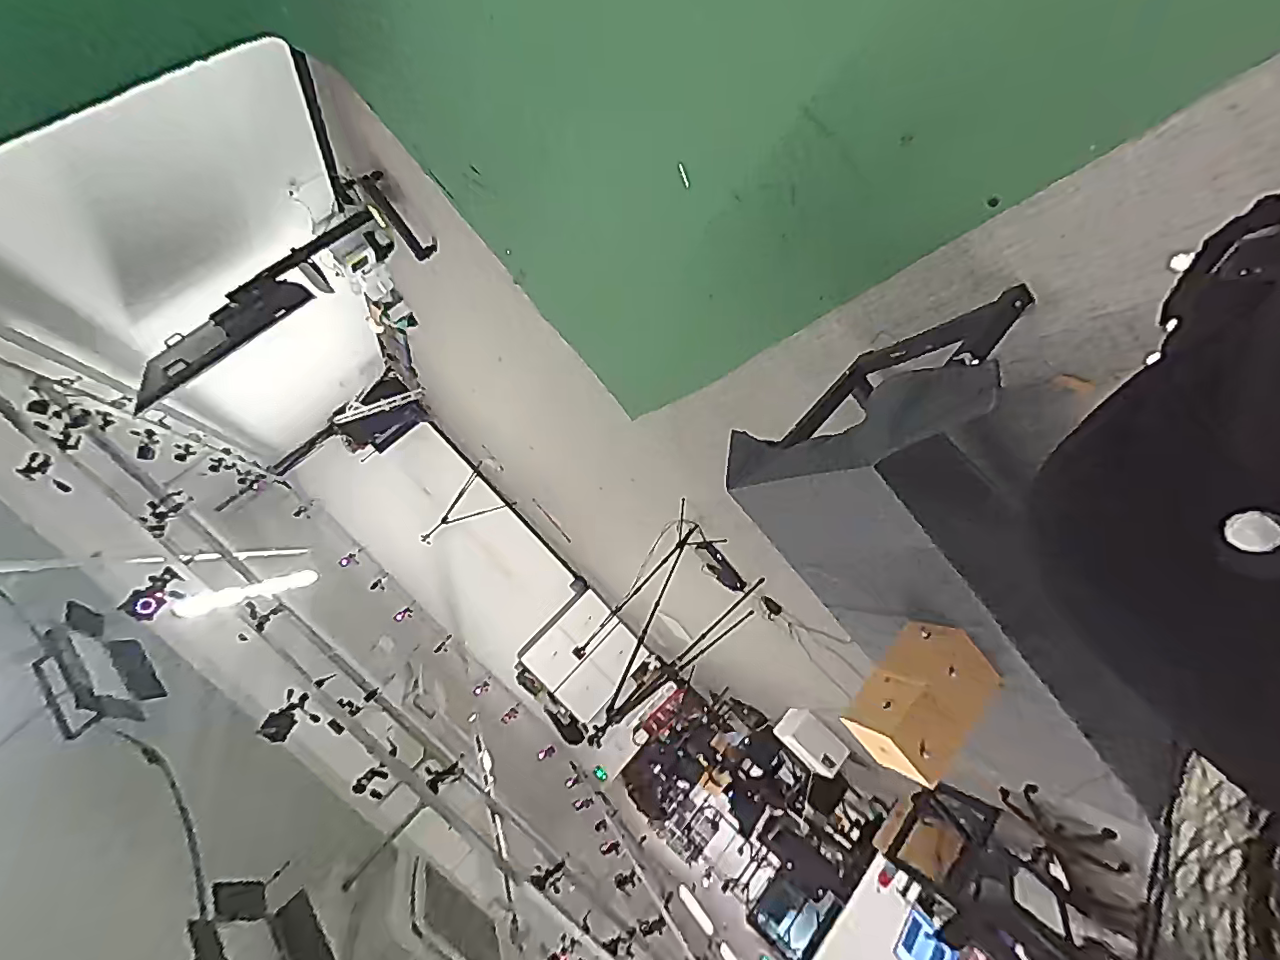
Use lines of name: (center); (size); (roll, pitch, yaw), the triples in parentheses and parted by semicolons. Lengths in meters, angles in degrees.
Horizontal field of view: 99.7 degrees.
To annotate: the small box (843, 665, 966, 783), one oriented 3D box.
small box: (0.640, 0.579, 1.313); (0.179, 0.176, 0.168); (49, 161, -8)
